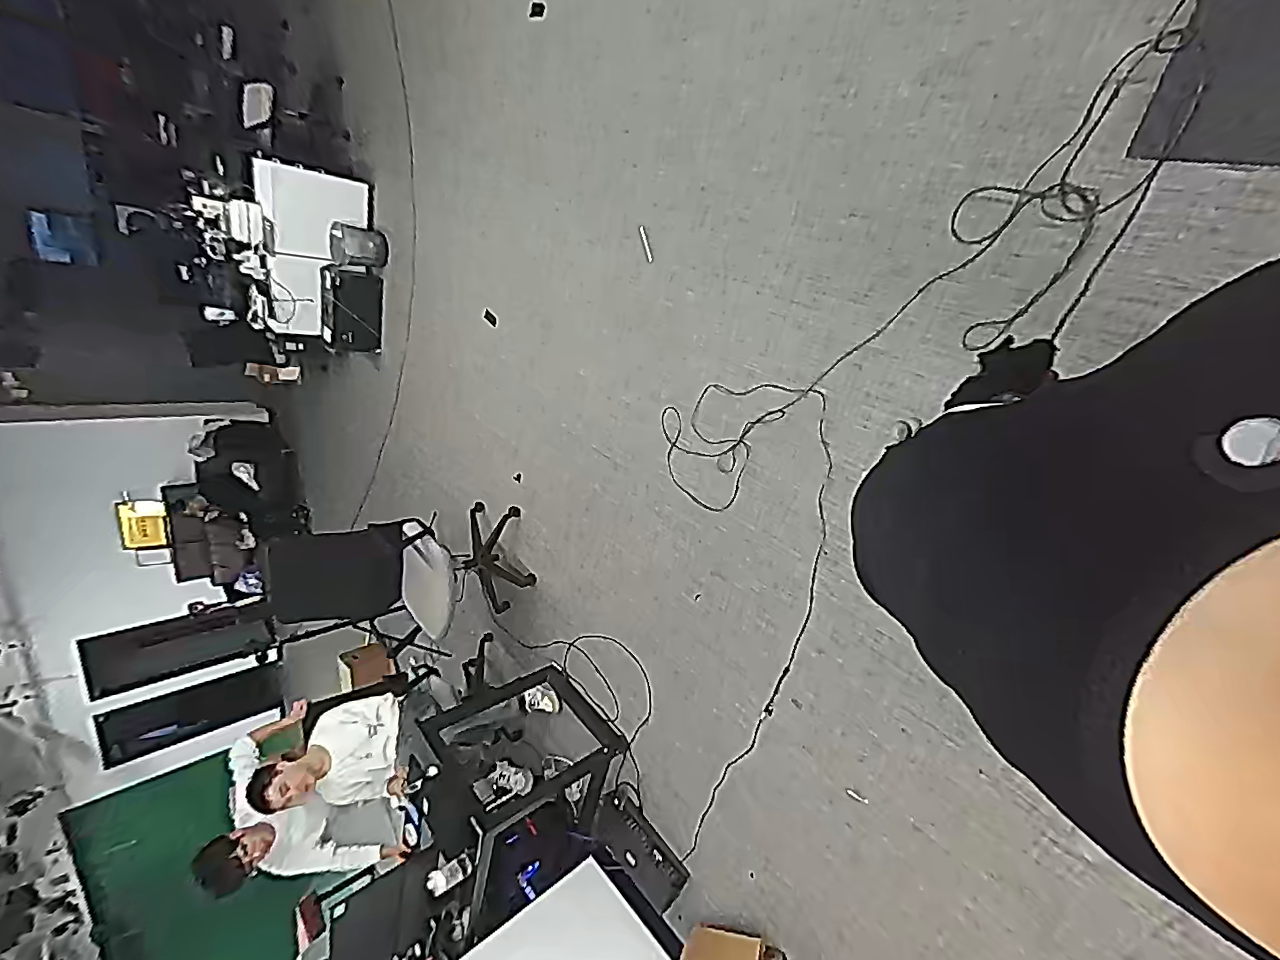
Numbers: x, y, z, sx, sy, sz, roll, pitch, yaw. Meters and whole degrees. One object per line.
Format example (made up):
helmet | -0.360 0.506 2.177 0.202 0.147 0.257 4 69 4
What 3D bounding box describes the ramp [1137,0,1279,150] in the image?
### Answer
ramp | 1.180 -0.986 0.666 0.509 0.206 0.991 30 118 37
